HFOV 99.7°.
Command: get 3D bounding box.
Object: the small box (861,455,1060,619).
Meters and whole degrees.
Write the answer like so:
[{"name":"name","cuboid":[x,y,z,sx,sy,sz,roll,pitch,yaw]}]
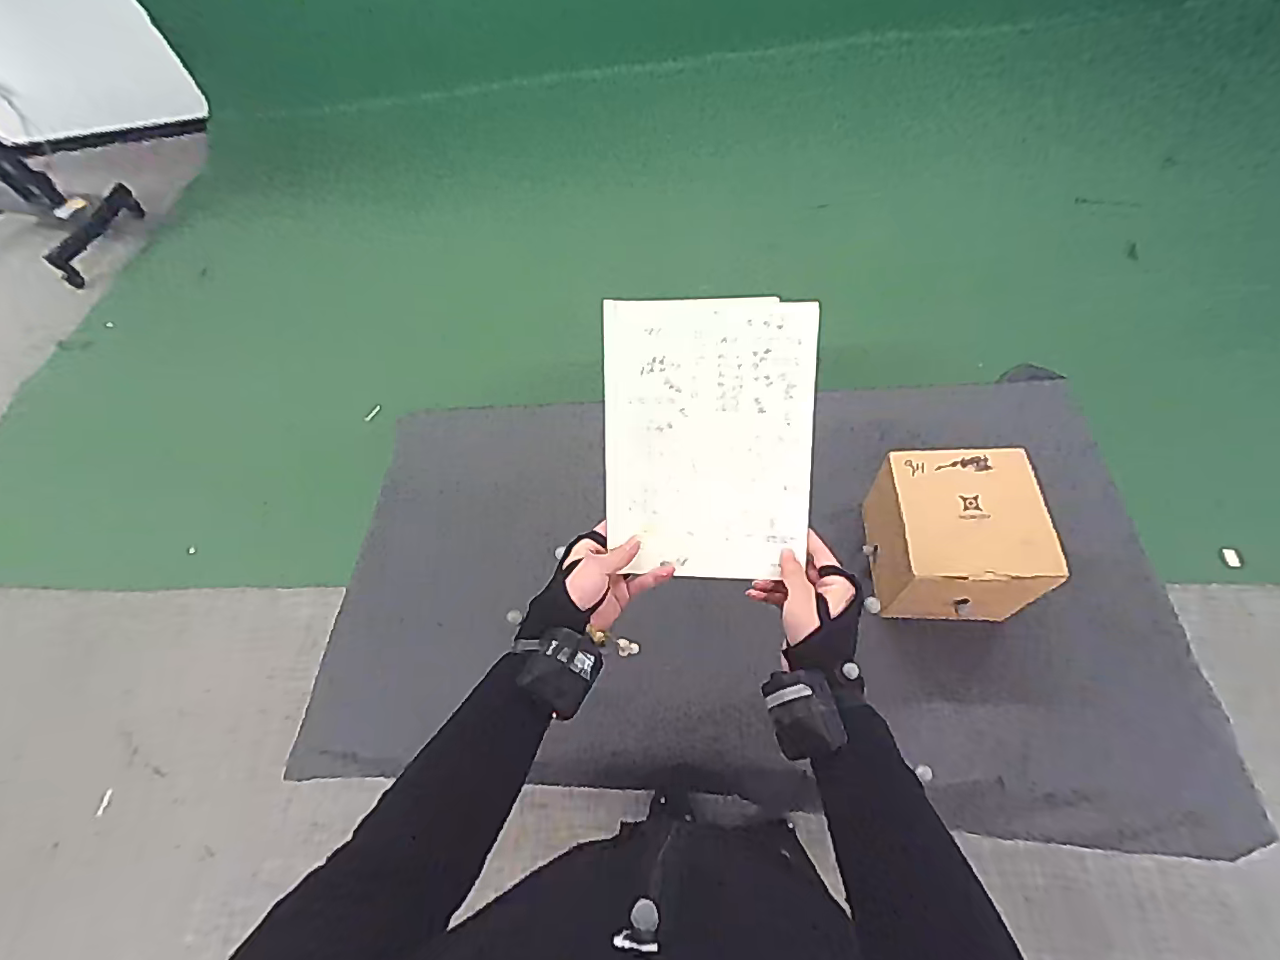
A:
[{"name":"small box","cuboid":[0.409,0.083,0.727,0.168,0.176,0.179,-1,61,8]}]
